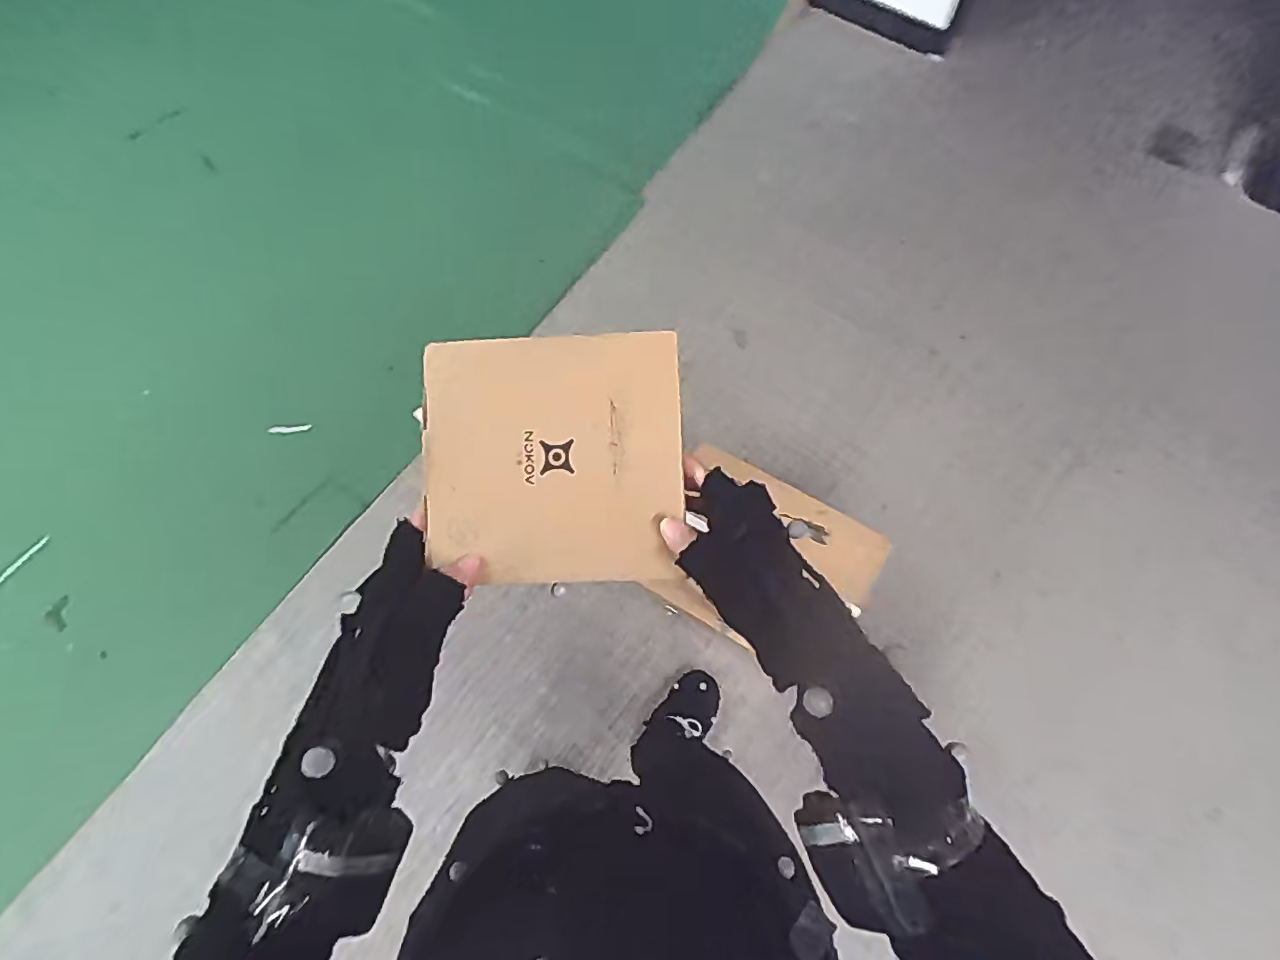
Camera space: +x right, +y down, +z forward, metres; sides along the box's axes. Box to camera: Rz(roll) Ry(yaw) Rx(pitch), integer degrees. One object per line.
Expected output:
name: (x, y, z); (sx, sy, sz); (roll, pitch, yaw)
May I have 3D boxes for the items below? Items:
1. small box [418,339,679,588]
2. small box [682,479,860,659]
small box: (-0.062, -0.005, 0.449); (0.179, 0.176, 0.168); (-5, 86, 1)
small box: (0.178, 0.132, 0.774); (0.168, 0.176, 0.179); (35, 80, 13)
